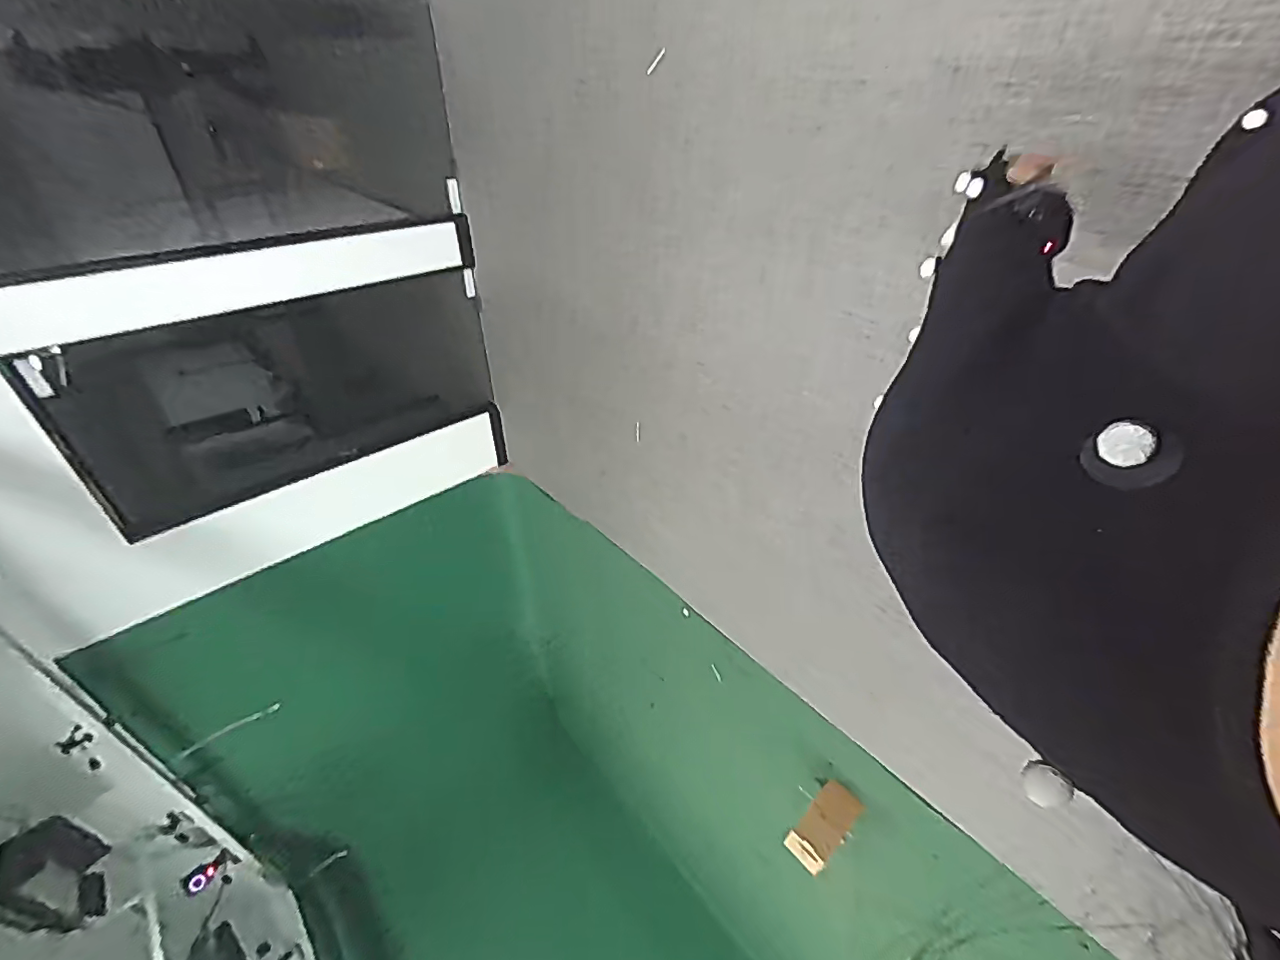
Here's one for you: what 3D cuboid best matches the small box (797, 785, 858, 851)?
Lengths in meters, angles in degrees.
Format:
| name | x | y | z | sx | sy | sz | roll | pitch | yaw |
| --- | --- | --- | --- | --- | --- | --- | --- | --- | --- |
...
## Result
| name | x | y | z | sx | sy | sz | roll | pitch | yaw |
| --- | --- | --- | --- | --- | --- | --- | --- | --- | --- |
| small box | 0.860 | 1.540 | 2.480 | 0.179 | 0.176 | 0.168 | 38 | 139 | 32 |
